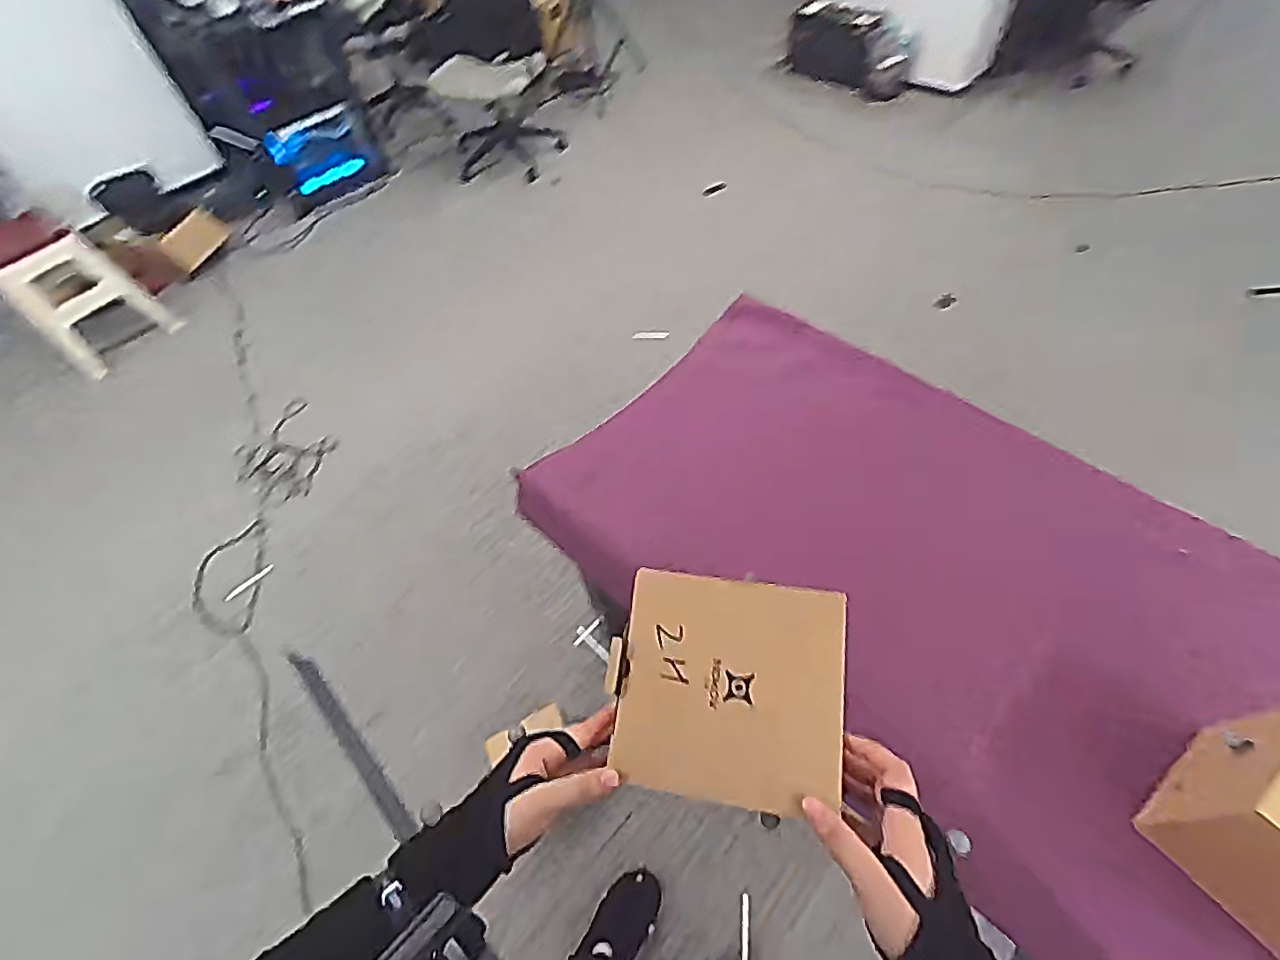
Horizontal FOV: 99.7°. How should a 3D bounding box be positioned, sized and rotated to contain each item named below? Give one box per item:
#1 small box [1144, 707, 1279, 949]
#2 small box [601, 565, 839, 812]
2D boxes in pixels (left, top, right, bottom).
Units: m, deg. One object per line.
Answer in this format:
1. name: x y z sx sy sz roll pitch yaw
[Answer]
1. small box: 0.656 0.341 0.515 0.168 0.176 0.179 -33 59 -18
2. small box: 0.077 0.183 0.501 0.179 0.176 0.168 4 70 11
